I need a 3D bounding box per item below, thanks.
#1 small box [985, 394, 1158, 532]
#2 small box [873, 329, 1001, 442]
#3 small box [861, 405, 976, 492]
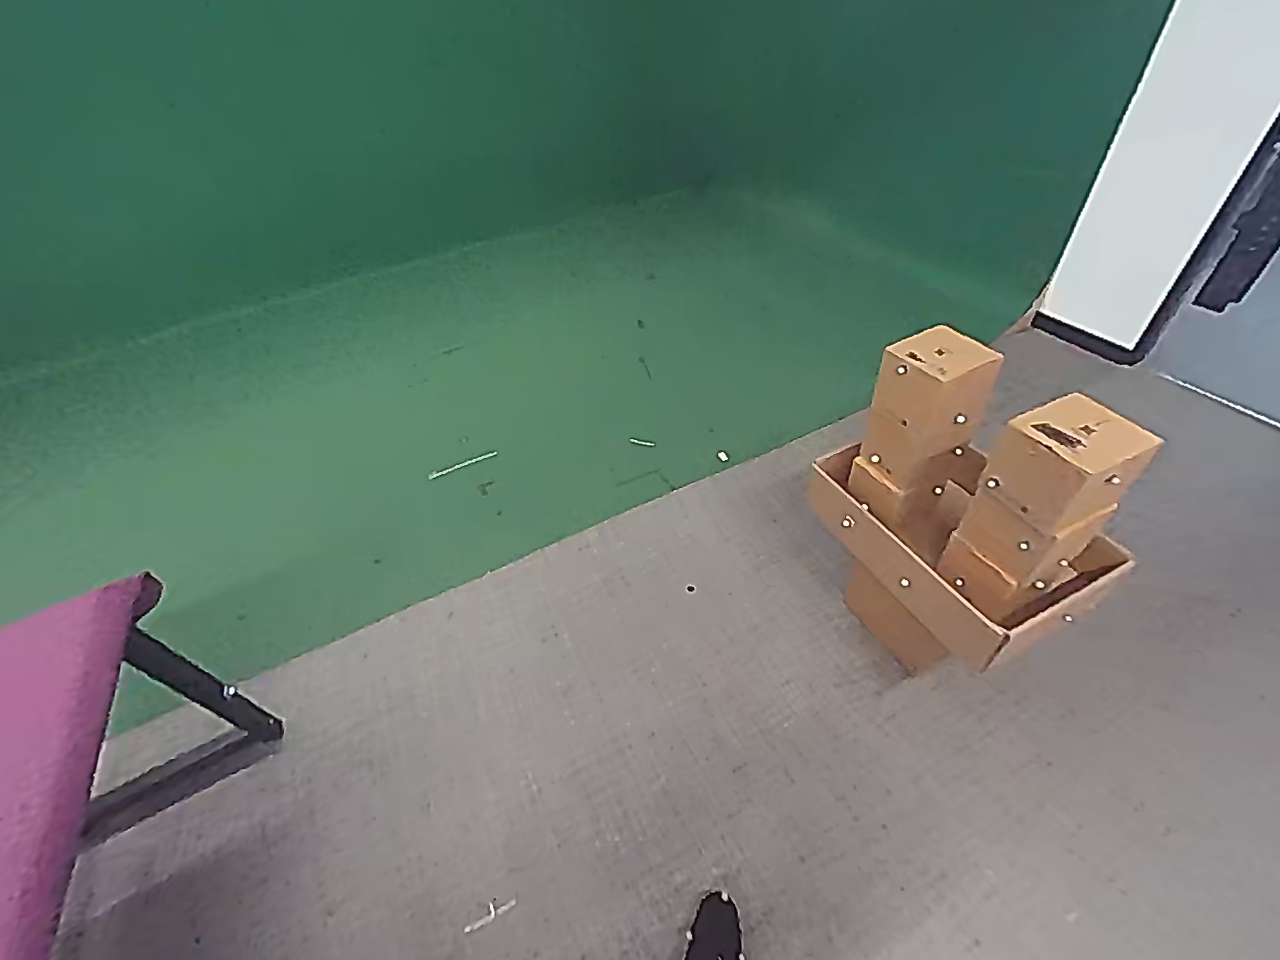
[{"bbox_3d":[0.795,-0.029,1.024,0.179,0.176,0.168,-21,47,-13],"label":"small box"},{"bbox_3d":[0.664,-0.215,1.233,0.179,0.176,0.168,-22,45,-16],"label":"small box"},{"bbox_3d":[0.682,-0.100,1.348,0.179,0.176,0.168,-20,45,-12],"label":"small box"}]
